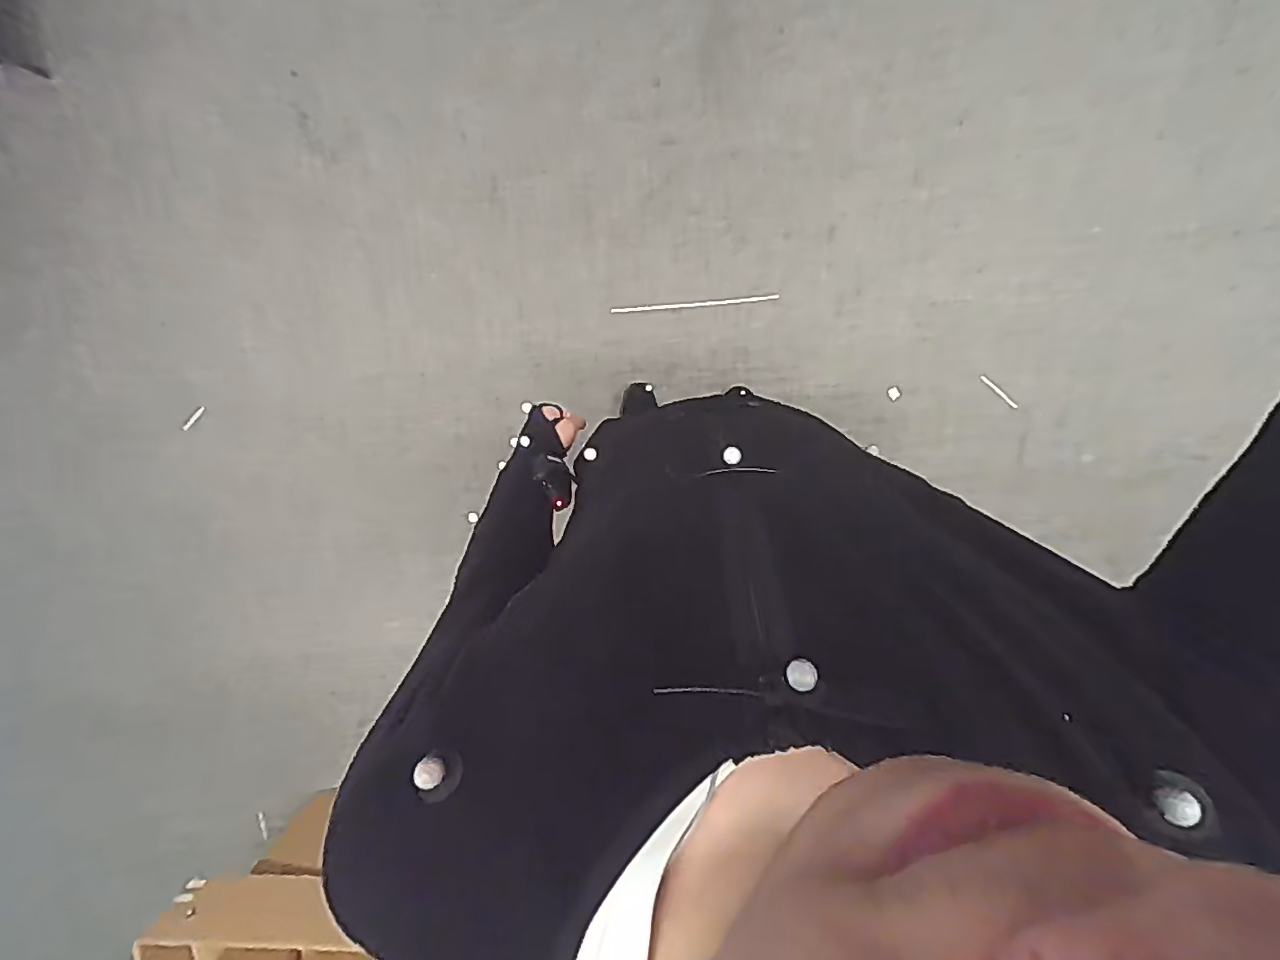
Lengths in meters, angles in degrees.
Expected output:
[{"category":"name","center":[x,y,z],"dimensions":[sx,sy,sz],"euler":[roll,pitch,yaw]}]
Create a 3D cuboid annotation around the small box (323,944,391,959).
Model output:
[{"category":"small box","center":[-0.749,1.329,1.370],"dimensions":[0.179,0.176,0.168],"euler":[0,98,4]}]
